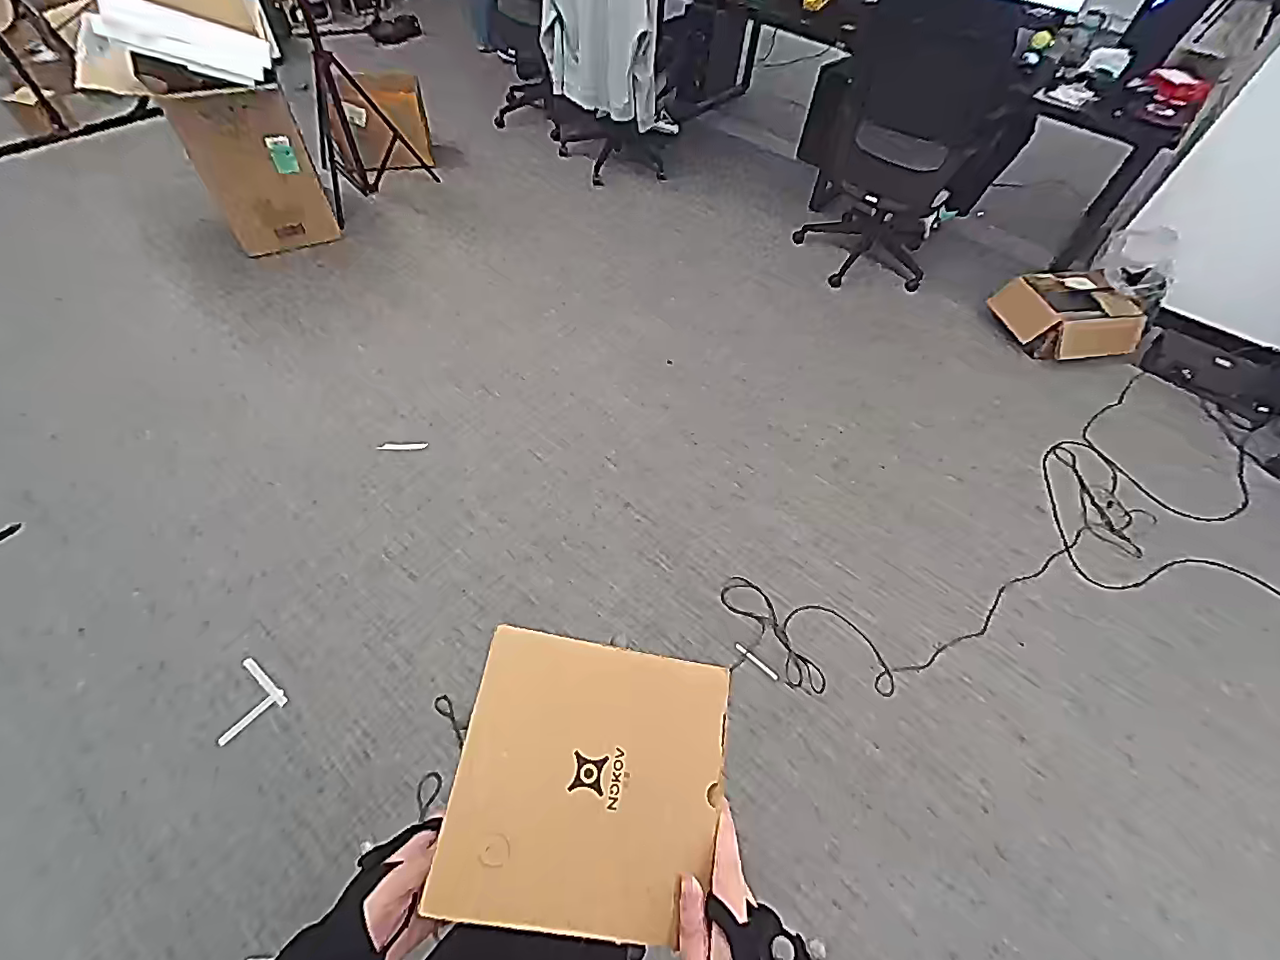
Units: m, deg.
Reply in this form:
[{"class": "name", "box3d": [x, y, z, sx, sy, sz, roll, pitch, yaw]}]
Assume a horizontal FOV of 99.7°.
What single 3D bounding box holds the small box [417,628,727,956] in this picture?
[{"class": "small box", "box3d": [-0.048, 0.230, 0.420, 0.179, 0.176, 0.168, 14, 60, -7]}]
